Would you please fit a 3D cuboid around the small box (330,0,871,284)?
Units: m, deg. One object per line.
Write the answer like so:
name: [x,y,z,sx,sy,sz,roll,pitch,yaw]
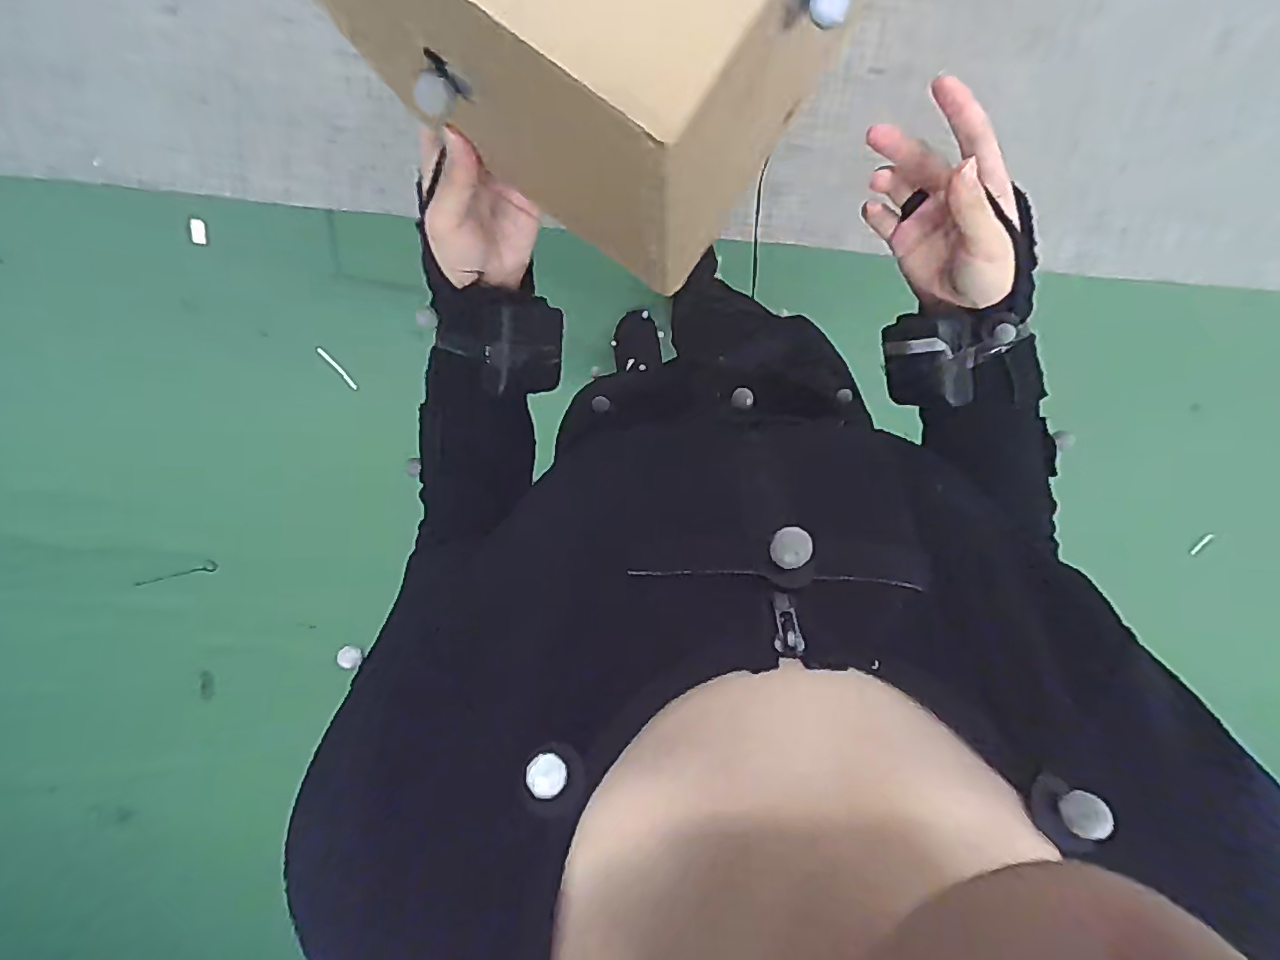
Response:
small box: [-0.010,-0.206,0.216,0.179,0.176,0.168,34,97,0]
